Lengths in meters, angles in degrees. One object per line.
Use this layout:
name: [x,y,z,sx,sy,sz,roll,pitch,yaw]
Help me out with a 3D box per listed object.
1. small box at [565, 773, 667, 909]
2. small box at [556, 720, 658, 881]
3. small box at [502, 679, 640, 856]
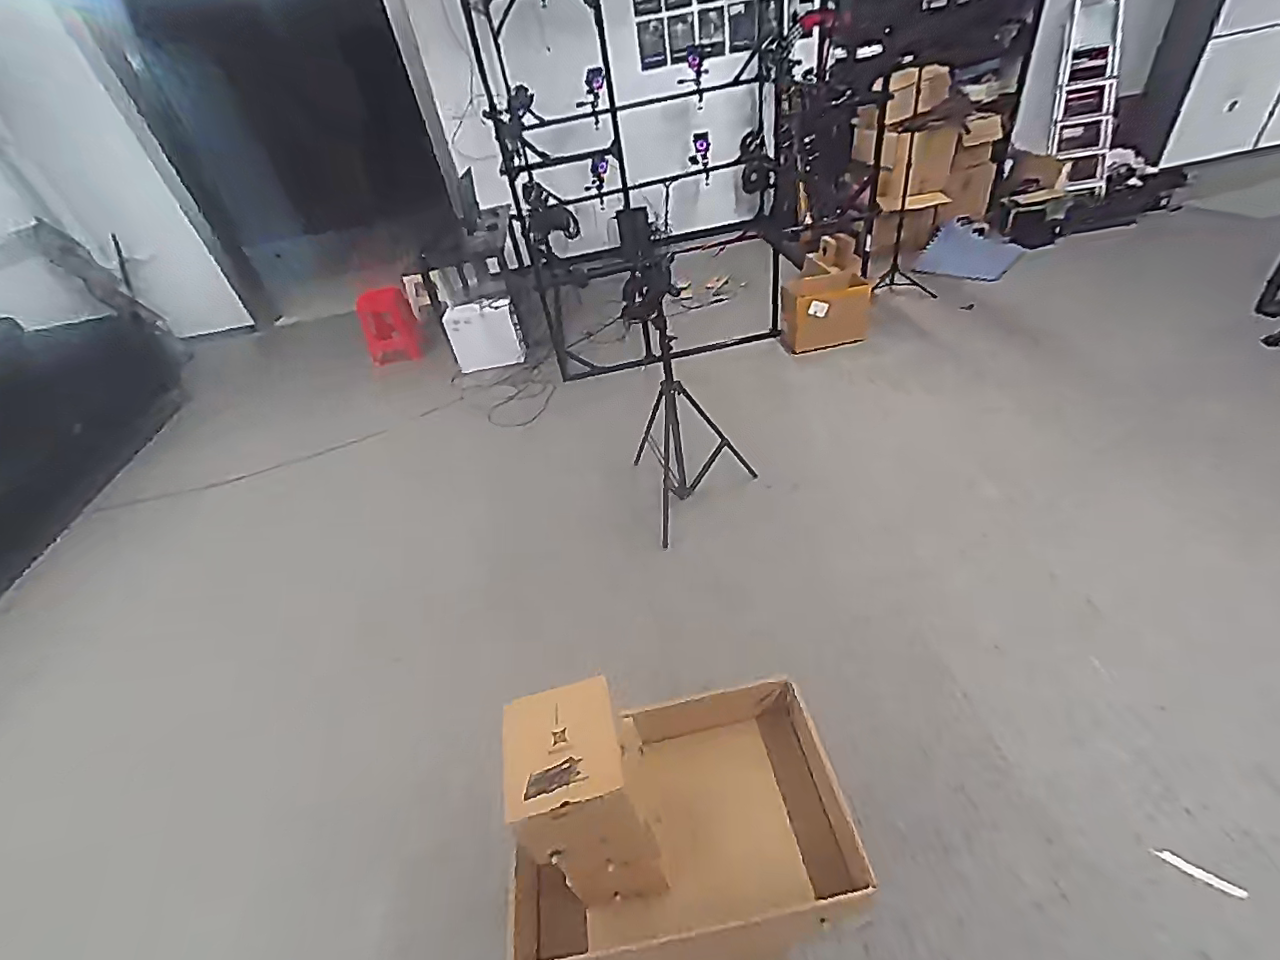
small box: [-0.049,0.684,1.041,0.168,0.176,0.179,-12,39,-1]
small box: [-0.070,0.556,0.940,0.168,0.176,0.179,-13,40,-2]
small box: [-0.104,0.442,0.825,0.168,0.176,0.179,-14,39,-4]
